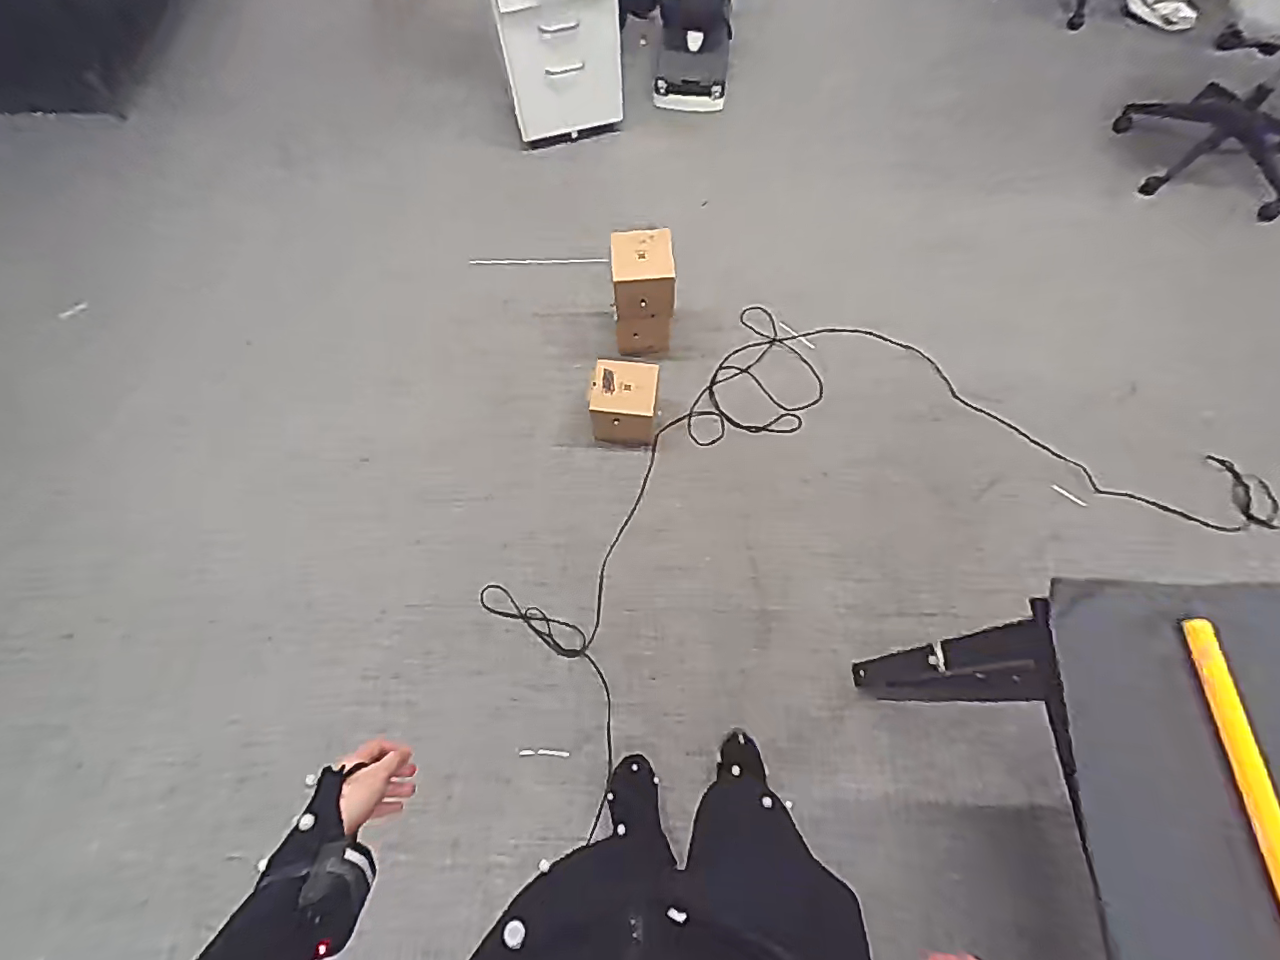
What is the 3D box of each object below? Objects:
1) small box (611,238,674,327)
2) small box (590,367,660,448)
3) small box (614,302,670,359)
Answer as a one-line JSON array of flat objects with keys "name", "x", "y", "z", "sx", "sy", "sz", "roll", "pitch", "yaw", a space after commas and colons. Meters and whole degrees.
[{"name": "small box", "x": 0.009, "y": -0.550, "z": 1.529, "sx": 0.168, "sy": 0.176, "sz": 0.179, "roll": -4, "pitch": 65, "yaw": 0}, {"name": "small box", "x": -0.038, "y": -0.203, "z": 1.555, "sx": 0.179, "sy": 0.176, "sz": 0.168, "roll": 6, "pitch": 66, "yaw": 3}, {"name": "small box", "x": 0.009, "y": -0.490, "z": 1.683, "sx": 0.168, "sy": 0.176, "sz": 0.179, "roll": -3, "pitch": 65, "yaw": 1}]
